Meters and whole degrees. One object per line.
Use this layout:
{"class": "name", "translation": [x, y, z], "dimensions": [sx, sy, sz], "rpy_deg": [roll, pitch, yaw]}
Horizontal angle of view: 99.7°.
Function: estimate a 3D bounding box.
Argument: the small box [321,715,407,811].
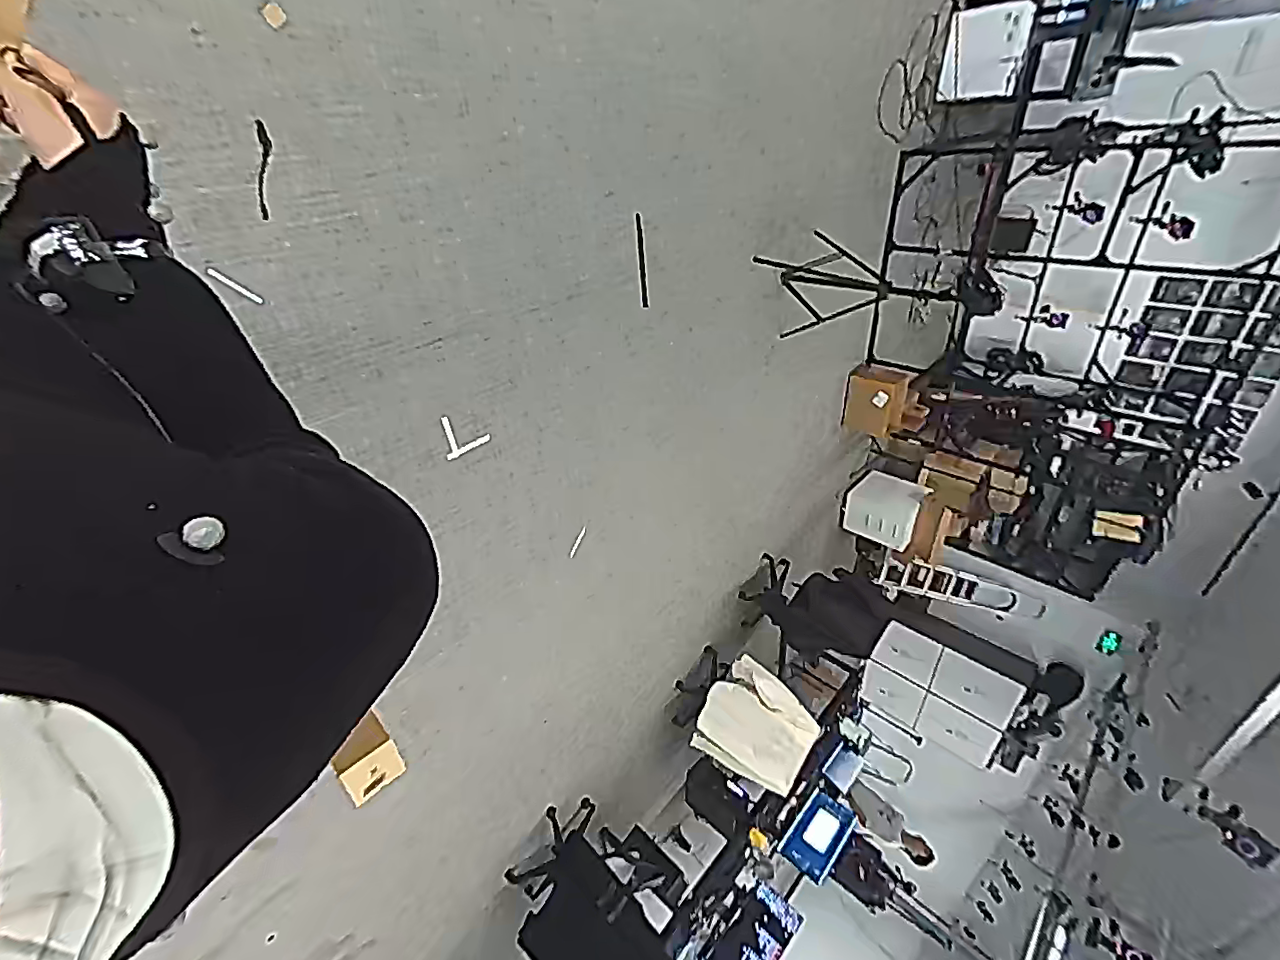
{"class": "small box", "translation": [-0.879, 0.893, 1.721], "dimensions": [0.168, 0.176, 0.179], "rpy_deg": [-31, 130, -37]}
